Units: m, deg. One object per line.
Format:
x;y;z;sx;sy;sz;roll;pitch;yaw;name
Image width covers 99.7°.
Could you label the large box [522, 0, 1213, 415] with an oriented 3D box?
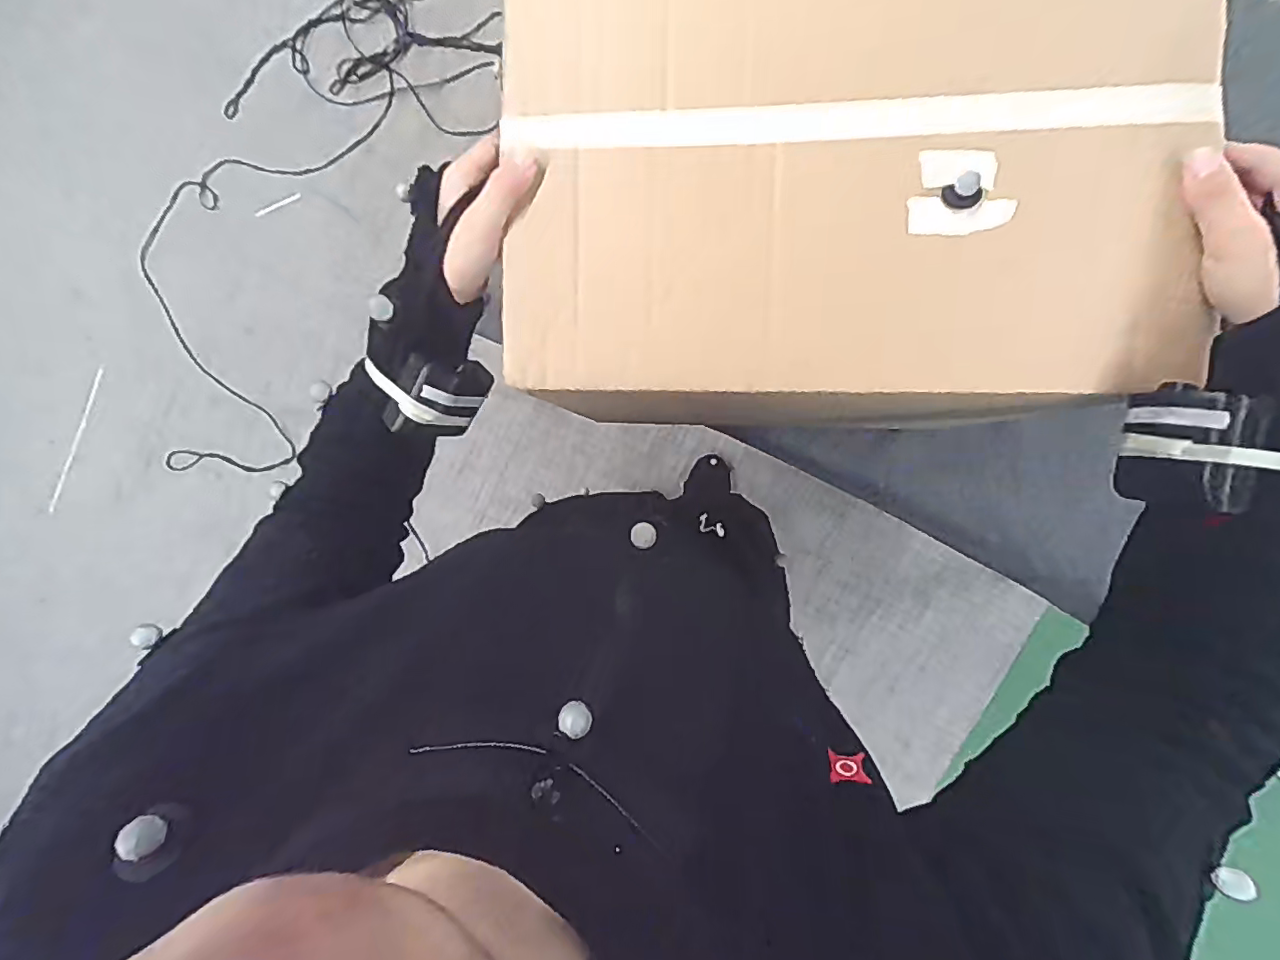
0.134;-0.226;0.474;0.408;0.320;0.320;1;93;4;large box
